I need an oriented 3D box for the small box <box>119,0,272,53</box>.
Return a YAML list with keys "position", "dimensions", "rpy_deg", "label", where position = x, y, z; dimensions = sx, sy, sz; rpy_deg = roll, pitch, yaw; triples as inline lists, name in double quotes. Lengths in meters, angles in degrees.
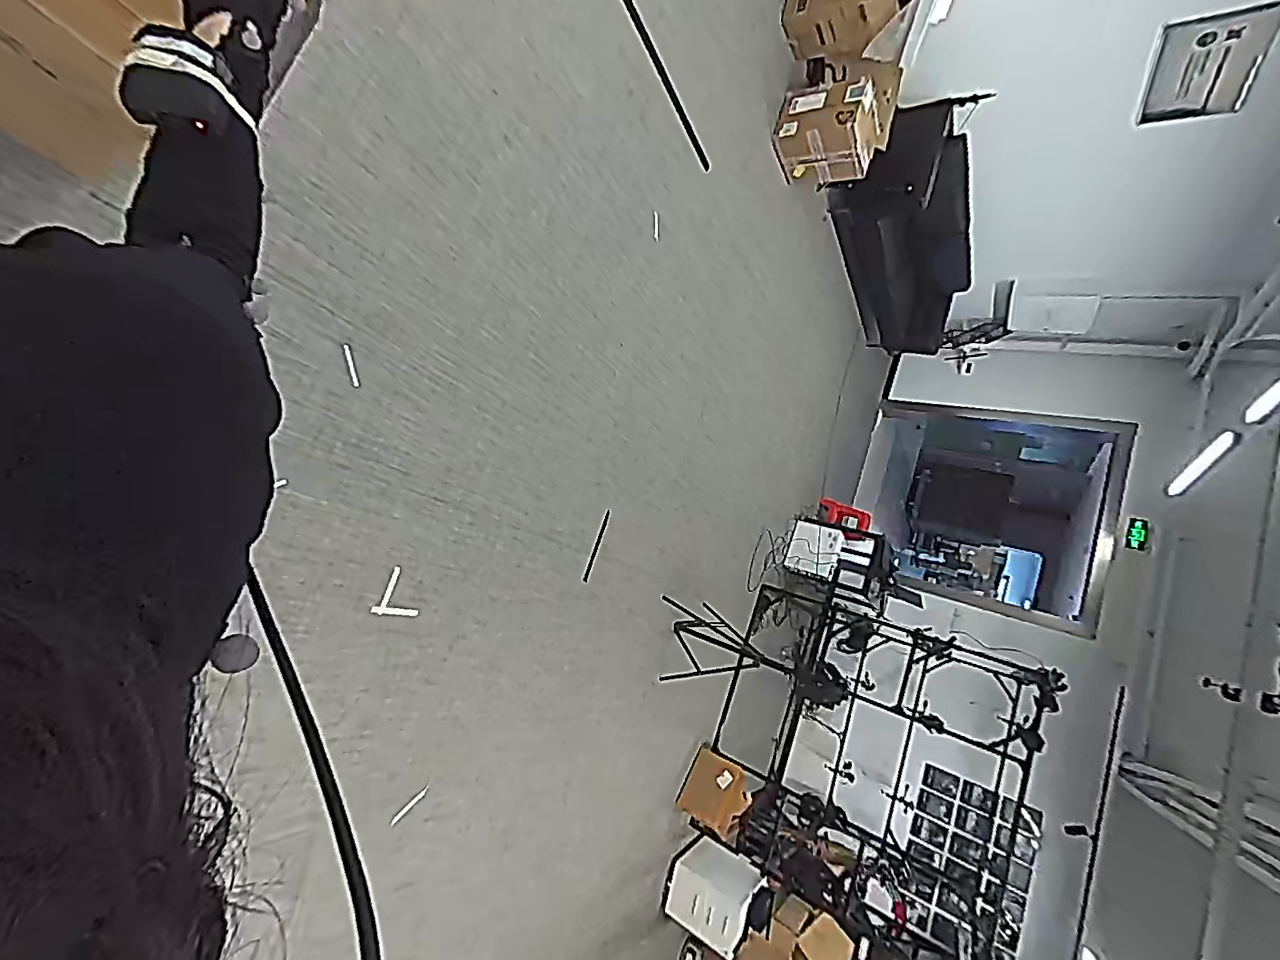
- position: [-0.504, -0.606, 0.581]
  dimensions: [0.179, 0.176, 0.168]
  rpy_deg: [36, 72, -52]
  label: "small box"
